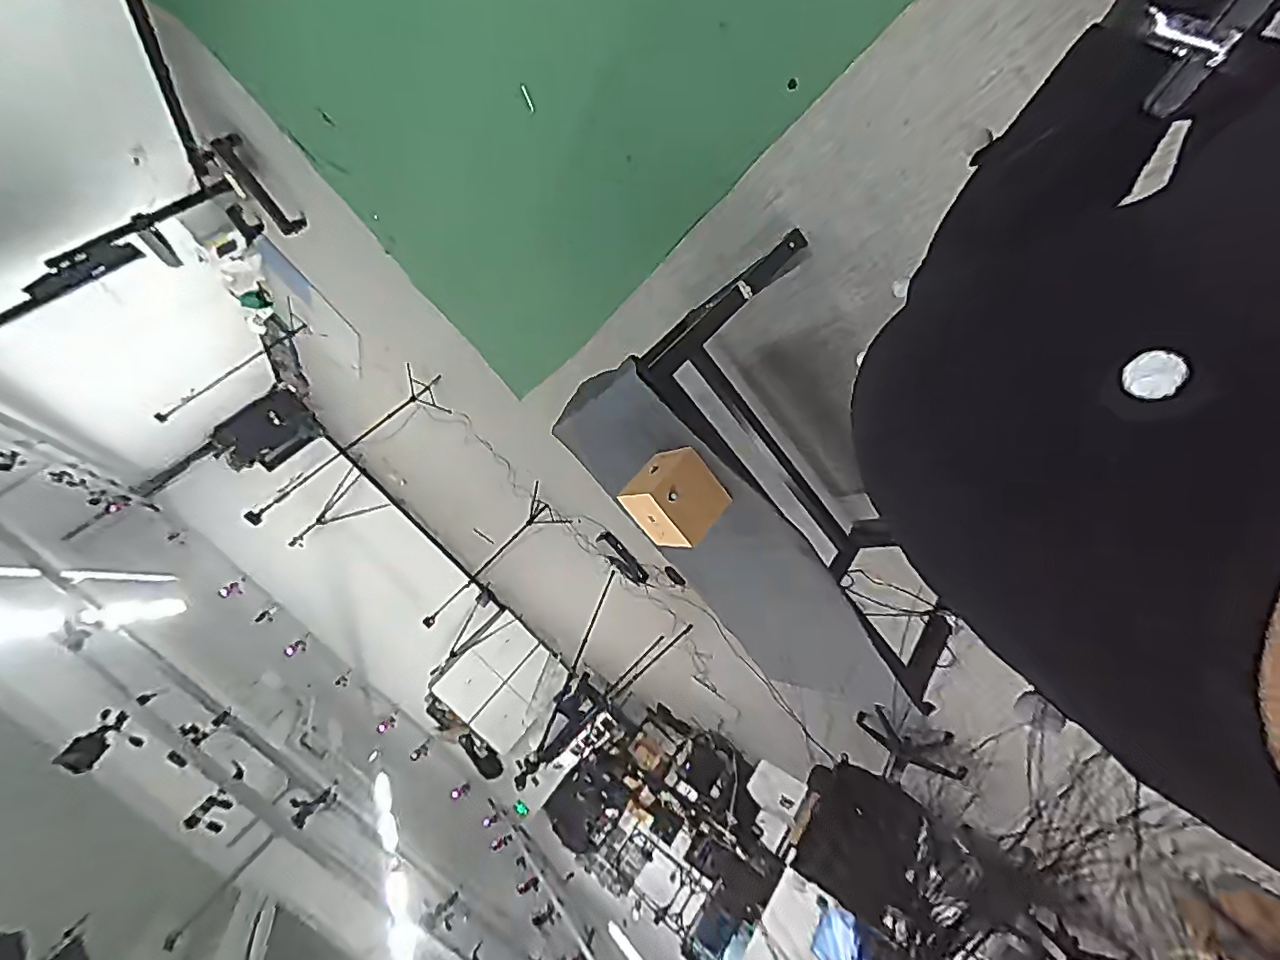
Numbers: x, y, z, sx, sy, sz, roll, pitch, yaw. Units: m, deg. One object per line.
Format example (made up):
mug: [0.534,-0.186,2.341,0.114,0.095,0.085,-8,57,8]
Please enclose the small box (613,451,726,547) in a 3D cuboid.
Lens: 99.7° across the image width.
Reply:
small box: [0.074,0.043,1.323,0.179,0.176,0.168,50,154,-18]
